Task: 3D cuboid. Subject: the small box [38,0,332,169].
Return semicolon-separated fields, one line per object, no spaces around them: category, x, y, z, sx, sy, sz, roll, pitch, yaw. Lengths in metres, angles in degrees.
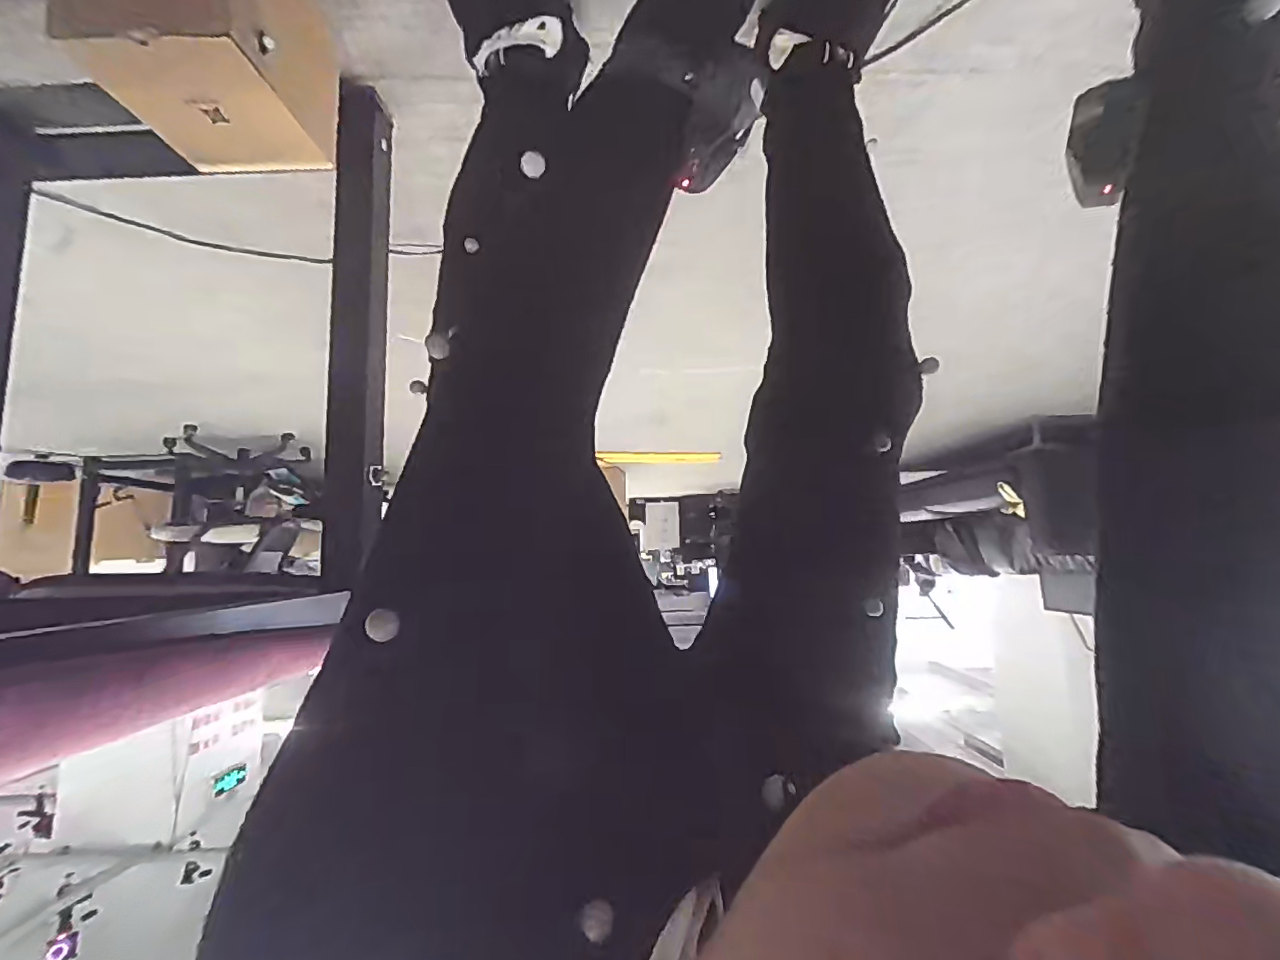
small box;-0.451;-0.463;0.569;0.168;0.176;0.179;-1;172;1
